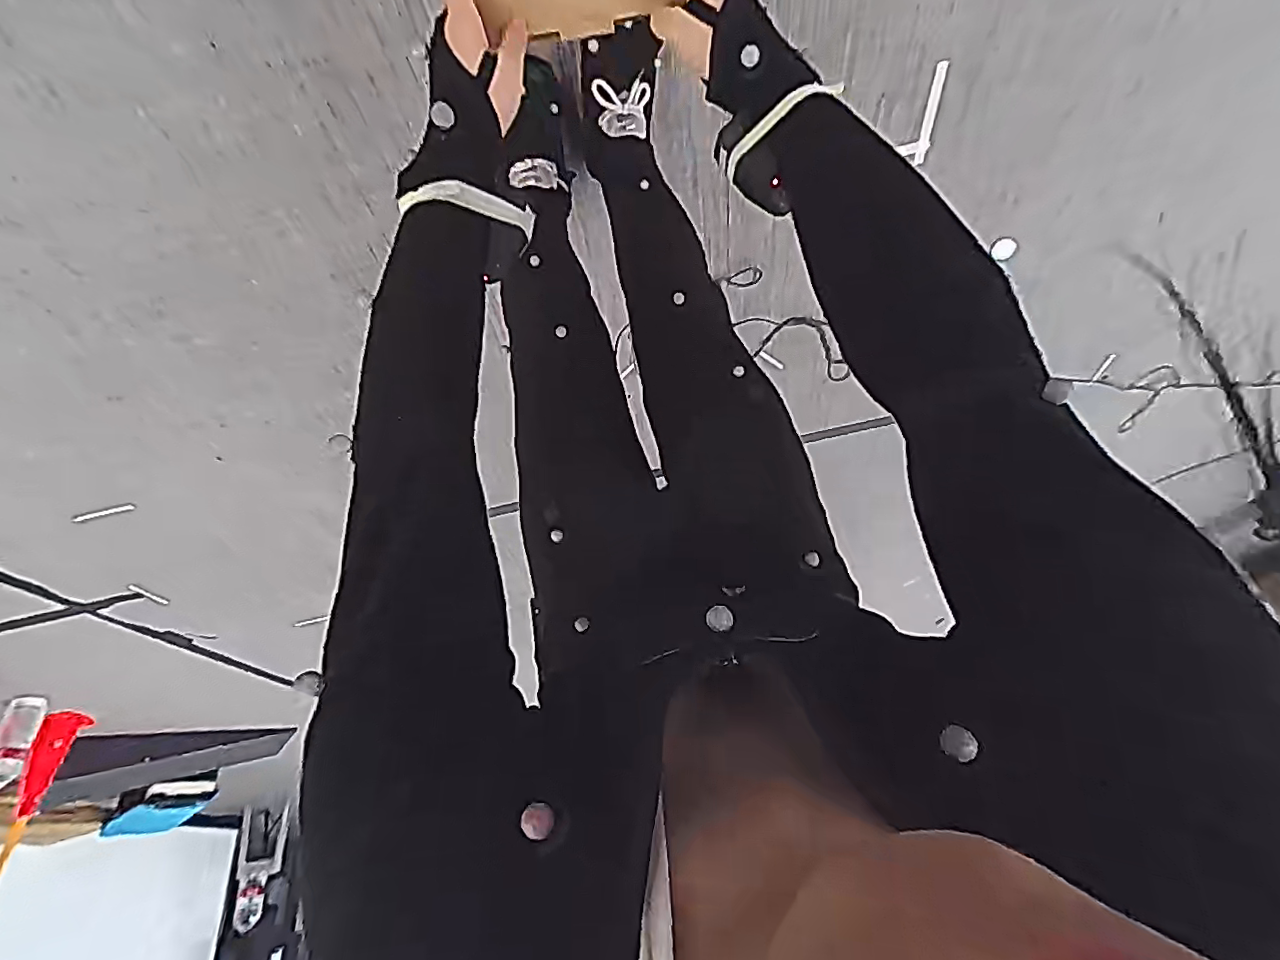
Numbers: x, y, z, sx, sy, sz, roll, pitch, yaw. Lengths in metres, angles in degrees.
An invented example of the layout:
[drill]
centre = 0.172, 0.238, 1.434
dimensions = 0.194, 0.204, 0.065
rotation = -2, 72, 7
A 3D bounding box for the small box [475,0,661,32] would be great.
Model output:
[small box]
centre = -0.064, -0.481, 0.403
dimensions = 0.168, 0.176, 0.179
rotation = -11, 144, 1
